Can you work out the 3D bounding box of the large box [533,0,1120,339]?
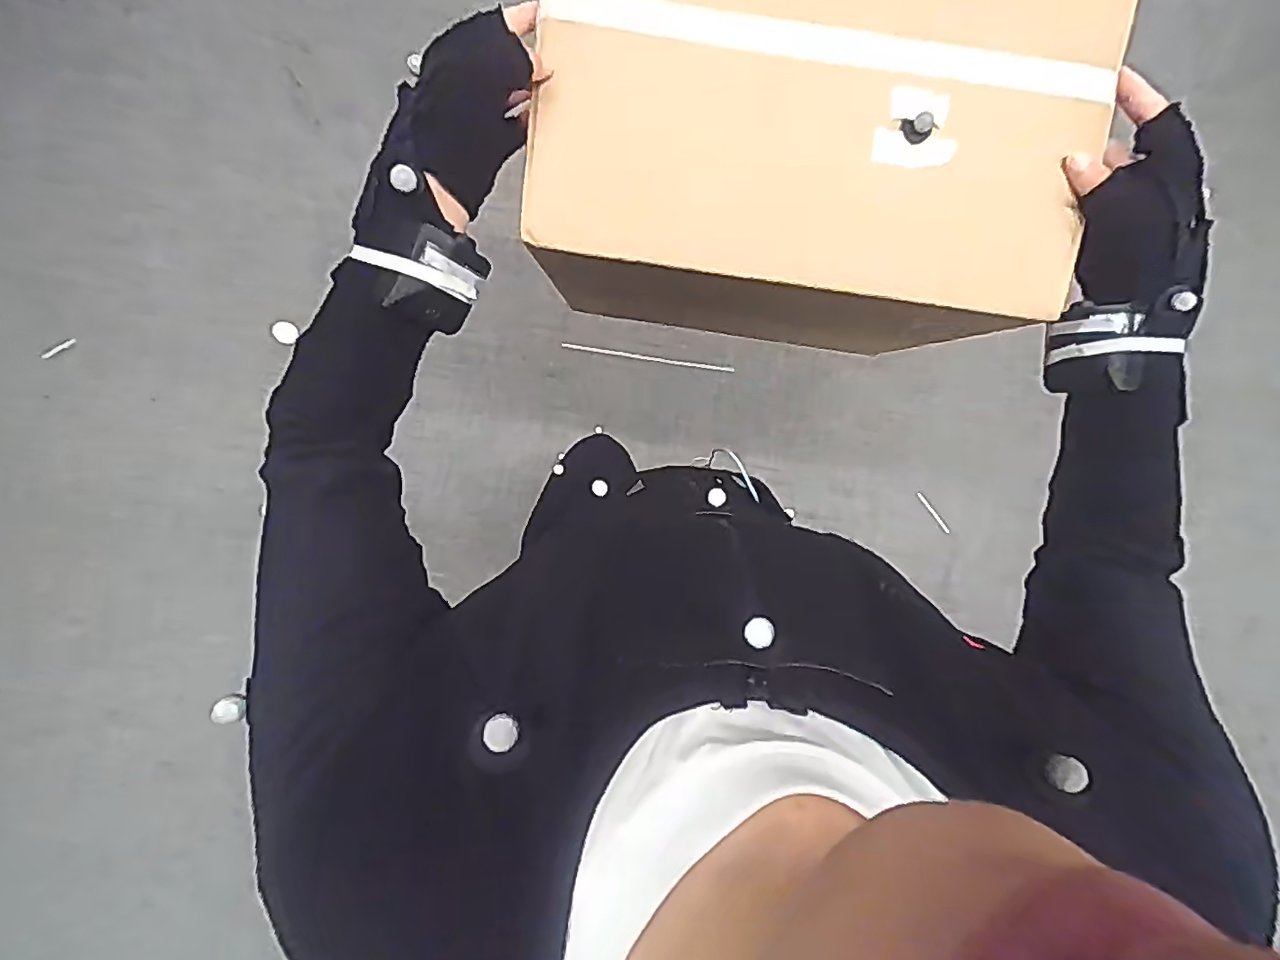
[{"bbox_3d":[0.130,-0.332,0.531,0.408,0.320,0.320,8,99,-2],"label":"large box"}]
